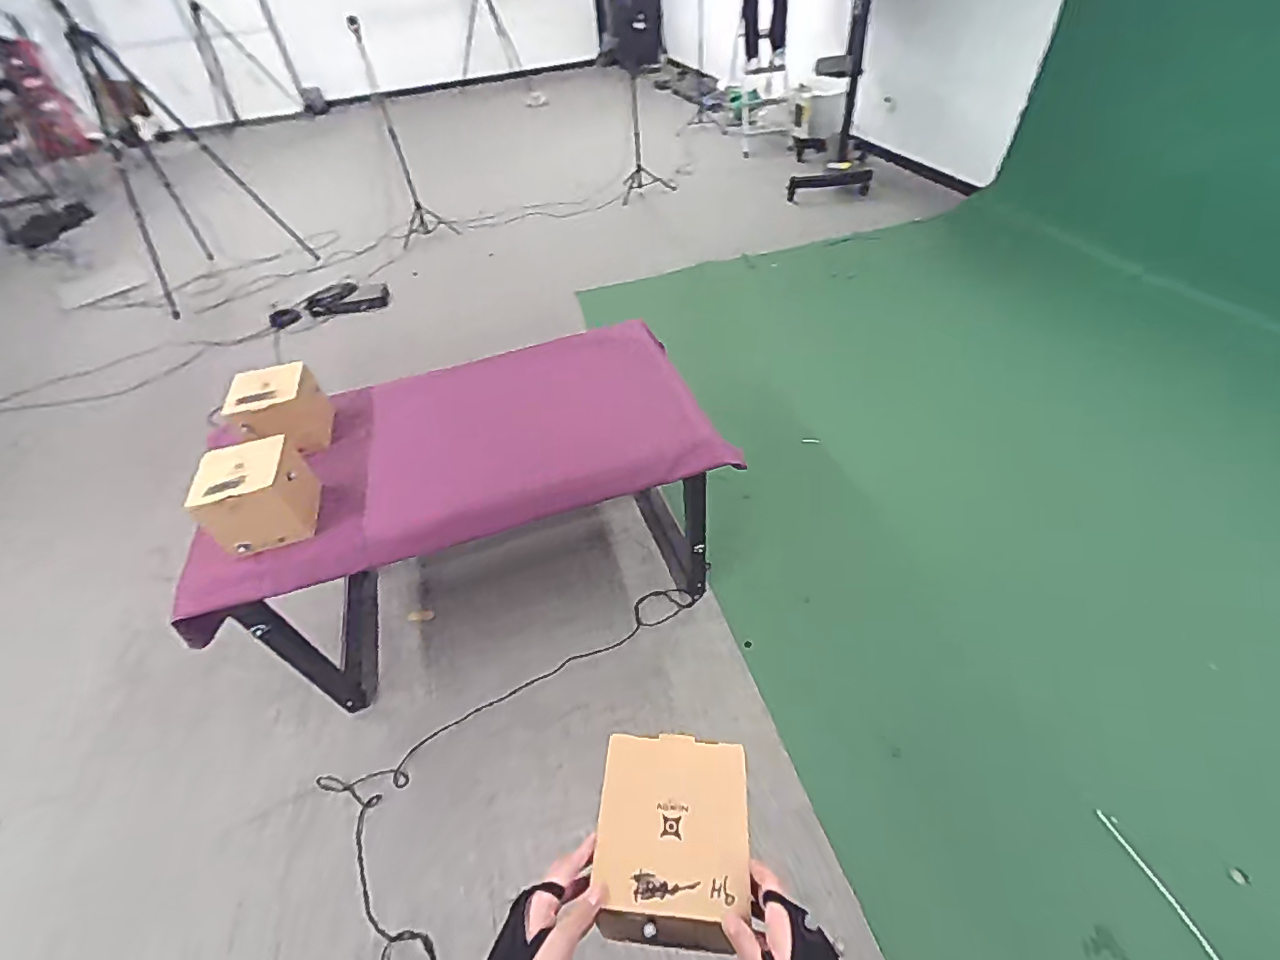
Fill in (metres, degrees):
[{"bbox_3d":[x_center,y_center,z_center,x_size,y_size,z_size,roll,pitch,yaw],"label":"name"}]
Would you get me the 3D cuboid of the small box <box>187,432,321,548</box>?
[{"bbox_3d":[-0.820,0.028,1.172,0.168,0.176,0.179,-15,46,-10],"label":"small box"}]
